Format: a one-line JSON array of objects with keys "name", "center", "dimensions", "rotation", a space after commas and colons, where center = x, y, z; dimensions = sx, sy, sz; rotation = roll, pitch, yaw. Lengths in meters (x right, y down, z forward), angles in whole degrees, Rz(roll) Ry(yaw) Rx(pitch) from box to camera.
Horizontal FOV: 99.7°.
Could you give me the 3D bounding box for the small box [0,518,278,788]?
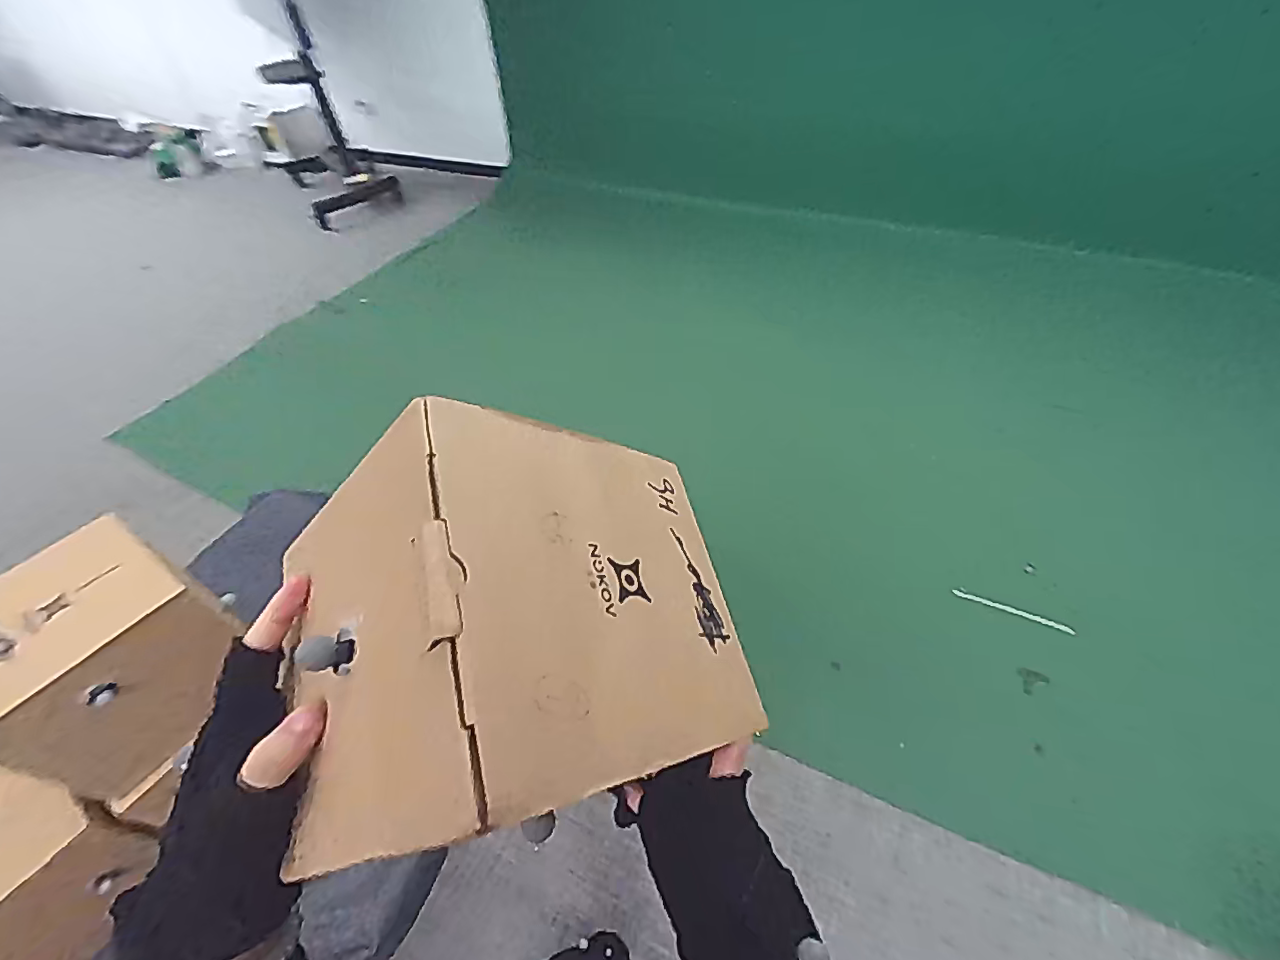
[{"name": "small box", "center": [-0.532, 0.179, 0.559], "dimensions": [0.168, 0.176, 0.179], "rotation": [26, 55, 24]}]
